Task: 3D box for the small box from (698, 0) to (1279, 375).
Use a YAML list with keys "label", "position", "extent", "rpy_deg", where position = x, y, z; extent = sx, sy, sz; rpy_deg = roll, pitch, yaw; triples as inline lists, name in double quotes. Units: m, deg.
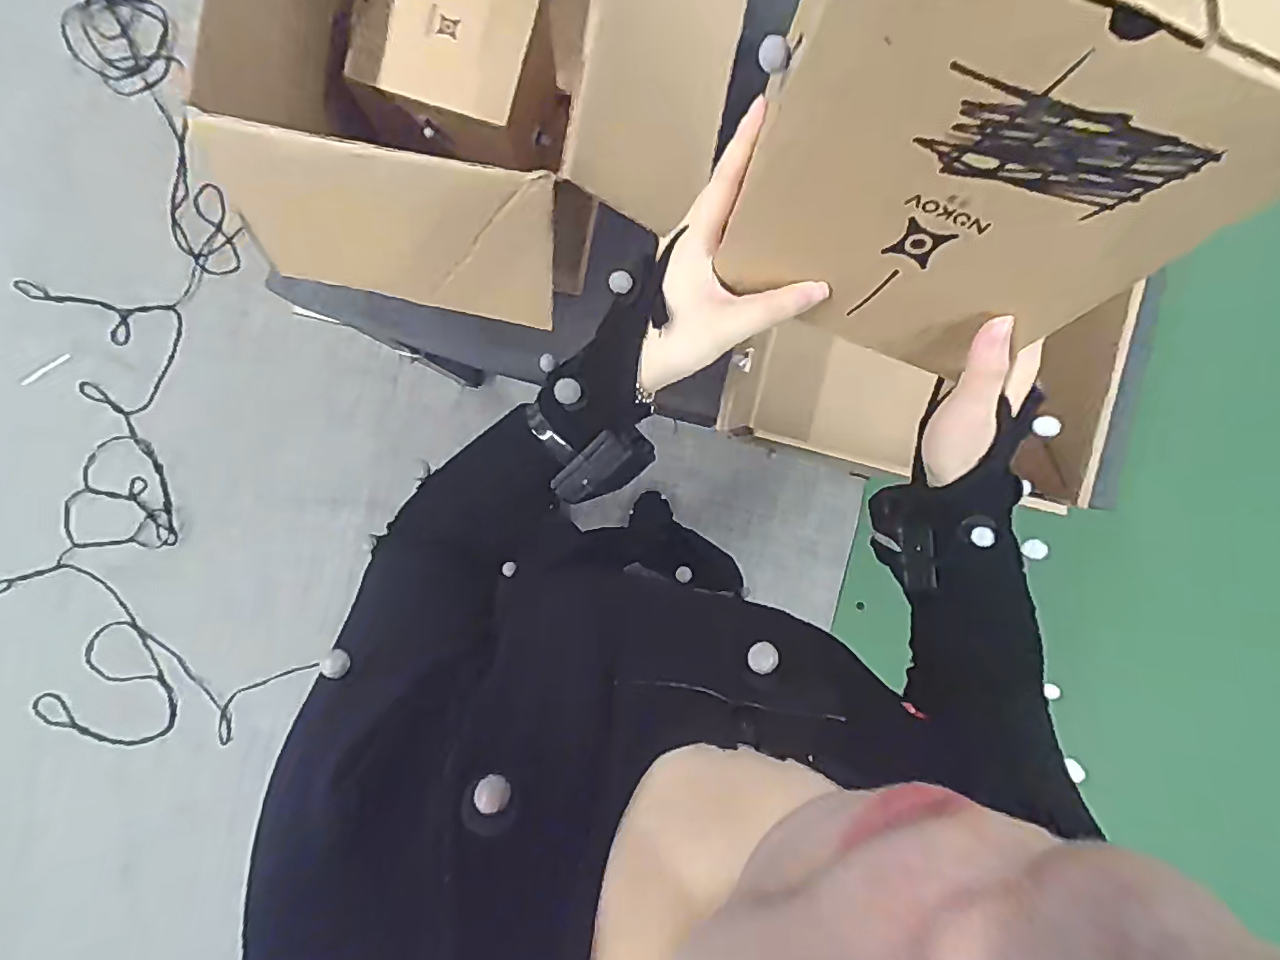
- label: "small box"
  position: [0.146, -0.184, 0.261]
  extent: [0.168, 0.179, 0.176]
  rpy_deg: [20, 74, -4]
